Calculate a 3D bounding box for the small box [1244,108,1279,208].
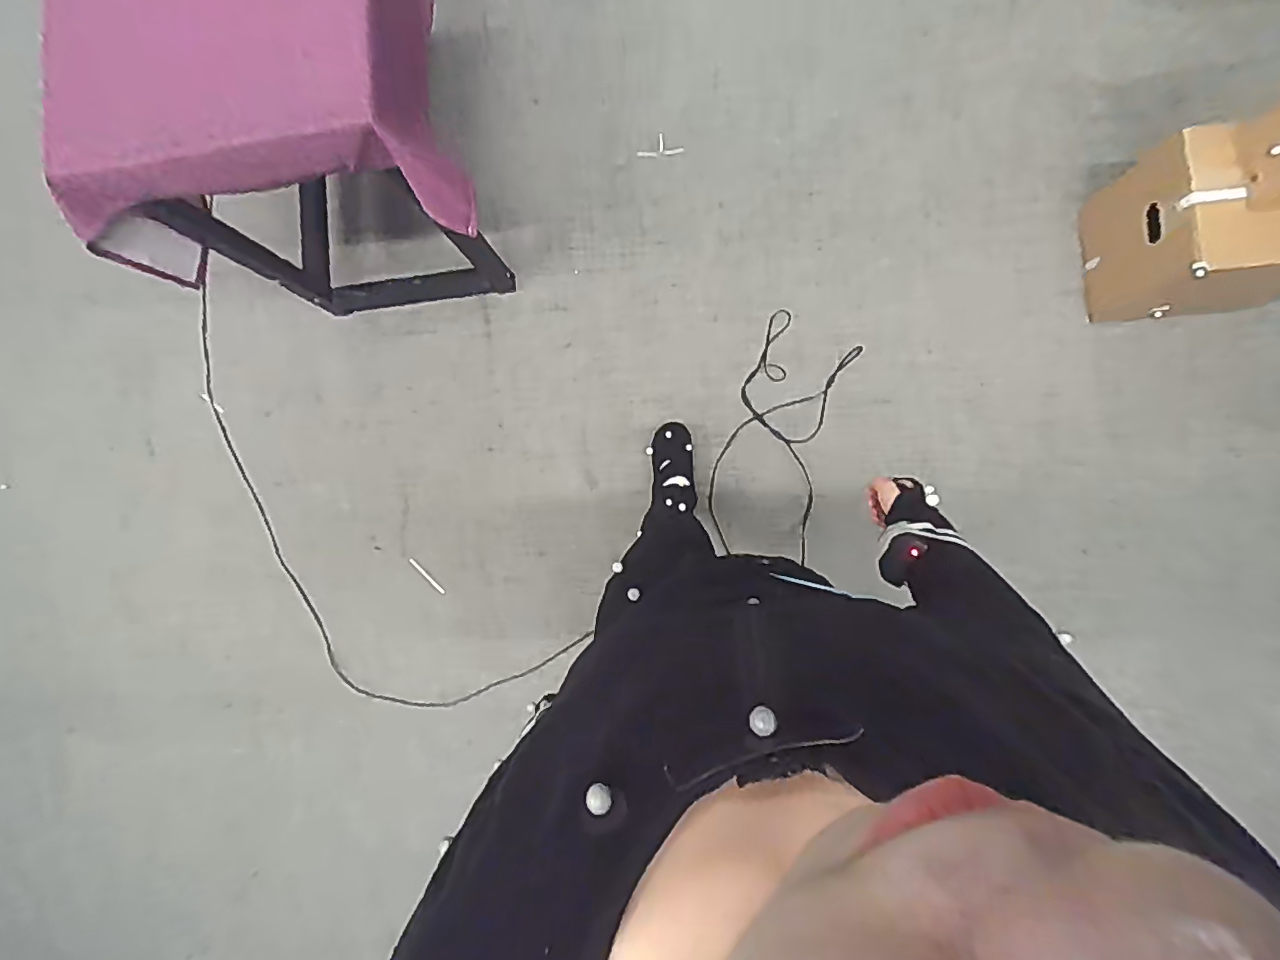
[{"bbox_3d":[1.306,-0.639,1.015,0.179,0.176,0.168,-7,85,6],"label":"small box"}]
